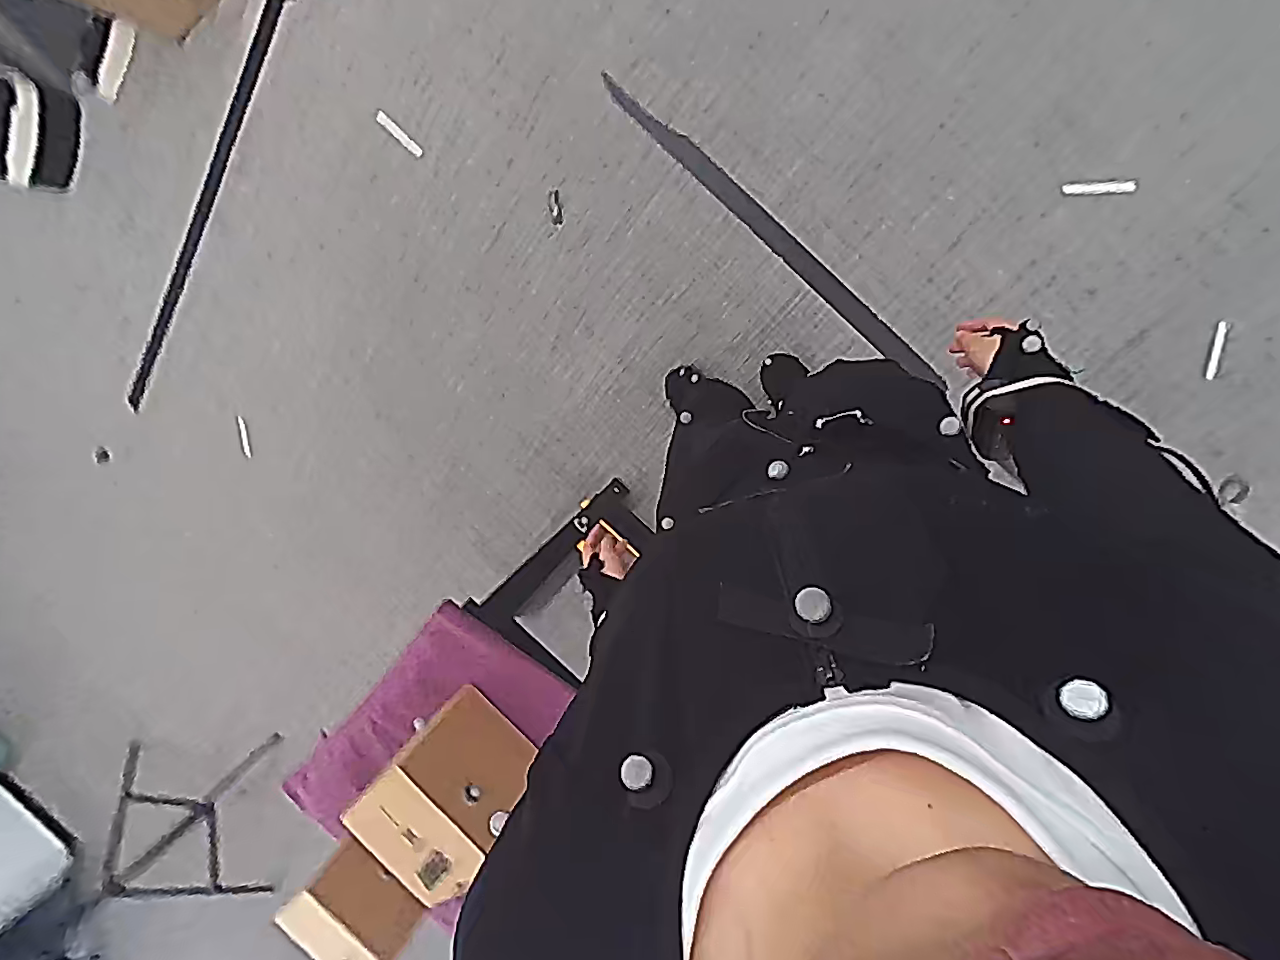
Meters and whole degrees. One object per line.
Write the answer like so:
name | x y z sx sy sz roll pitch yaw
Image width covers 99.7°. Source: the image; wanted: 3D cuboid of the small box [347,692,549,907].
small box | -0.263 0.447 0.775 0.179 0.176 0.168 44 113 0
